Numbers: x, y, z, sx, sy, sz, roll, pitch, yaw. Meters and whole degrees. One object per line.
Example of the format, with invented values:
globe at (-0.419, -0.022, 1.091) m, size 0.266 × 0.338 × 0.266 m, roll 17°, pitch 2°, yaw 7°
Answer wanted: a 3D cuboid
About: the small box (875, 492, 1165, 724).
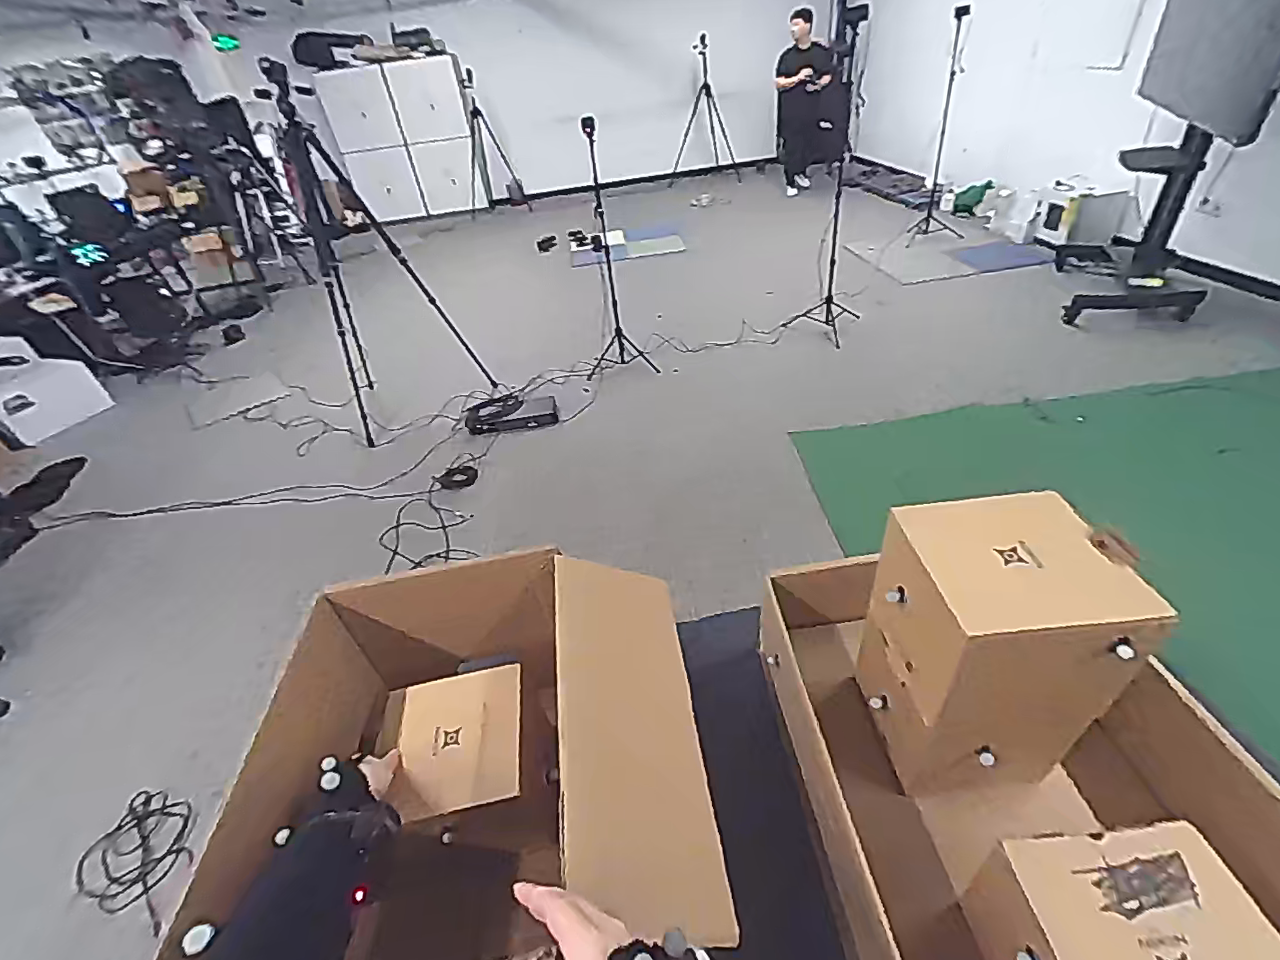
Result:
small box at (0.363, 0.136, 0.567) m, size 0.179 × 0.176 × 0.168 m, roll -6°, pitch 39°, yaw 2°
